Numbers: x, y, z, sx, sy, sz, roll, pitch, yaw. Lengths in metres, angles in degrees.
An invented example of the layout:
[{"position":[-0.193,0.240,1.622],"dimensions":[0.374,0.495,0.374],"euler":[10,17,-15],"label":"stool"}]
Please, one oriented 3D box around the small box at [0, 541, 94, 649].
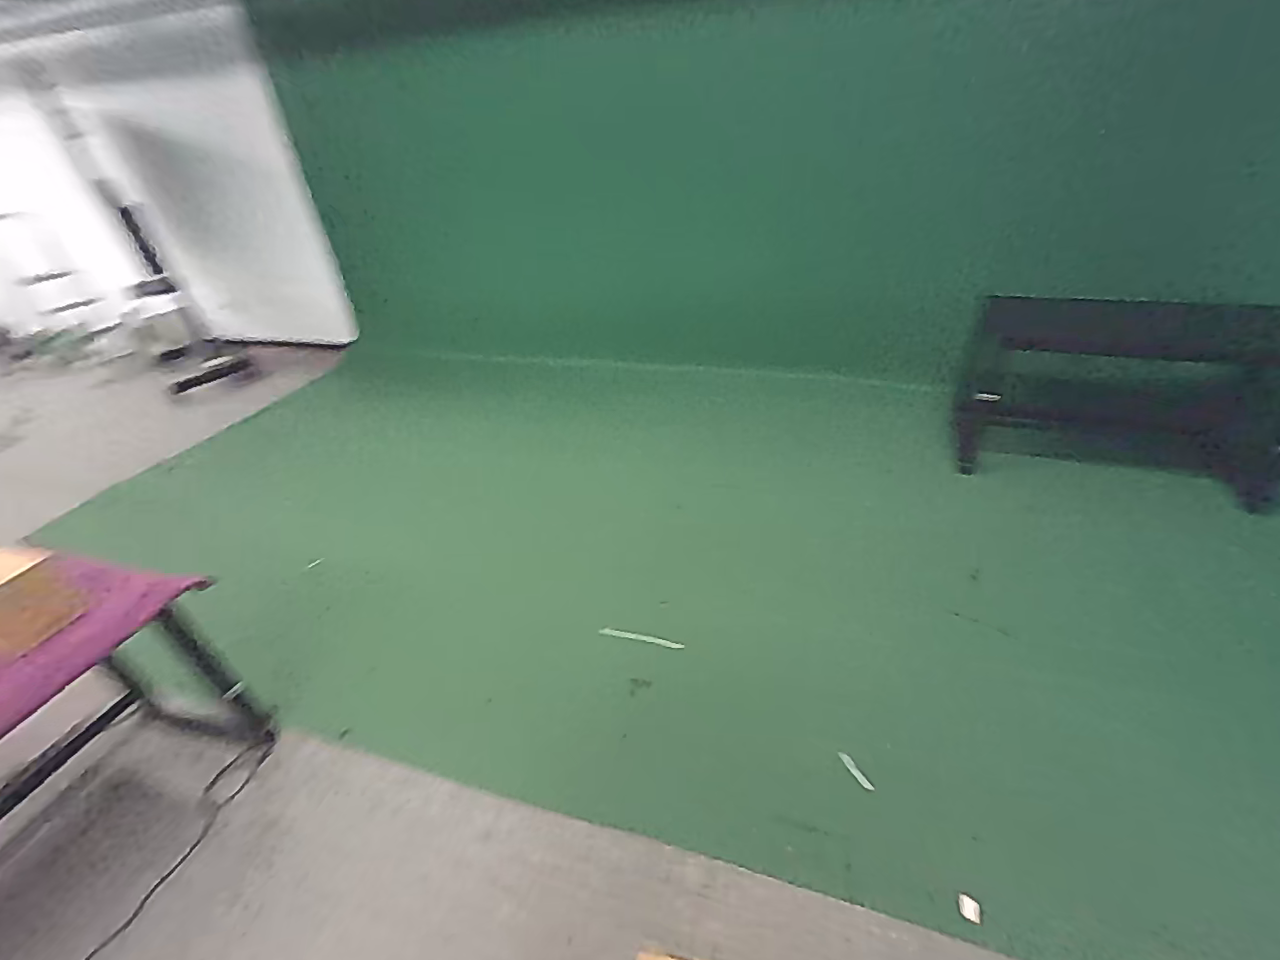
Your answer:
[{"position":[-1.450,0.265,1.249],"dimensions":[0.179,0.176,0.168],"euler":[6,38,18],"label":"small box"}]
